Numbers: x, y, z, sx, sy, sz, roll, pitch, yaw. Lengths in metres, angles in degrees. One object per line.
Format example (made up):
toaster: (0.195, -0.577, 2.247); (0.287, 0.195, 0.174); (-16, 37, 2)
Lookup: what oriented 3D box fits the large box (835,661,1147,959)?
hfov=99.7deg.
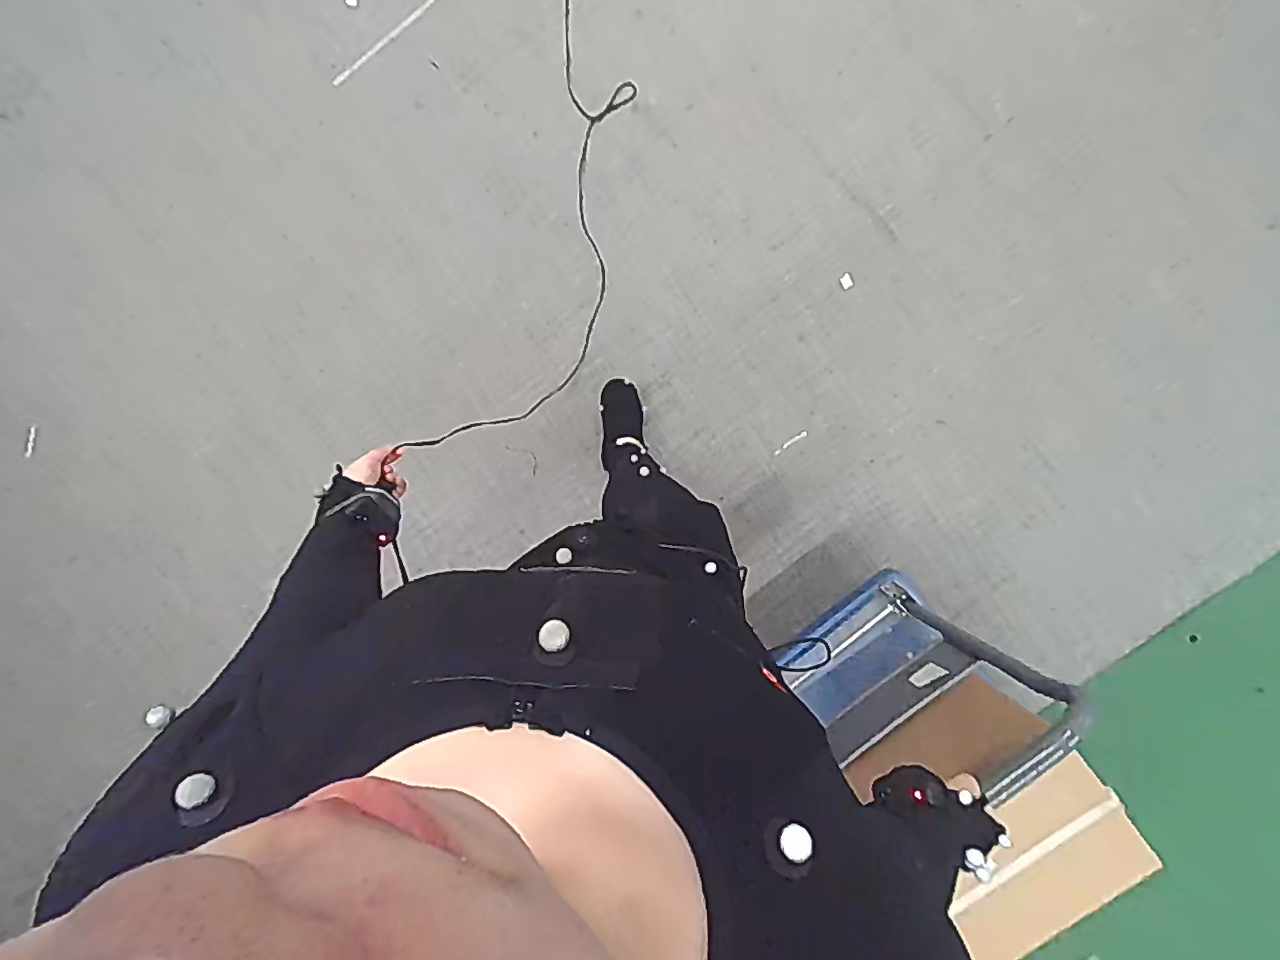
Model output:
large box: (0.714, 0.677, 1.170); (0.408, 0.320, 0.320); (-37, 90, 4)
